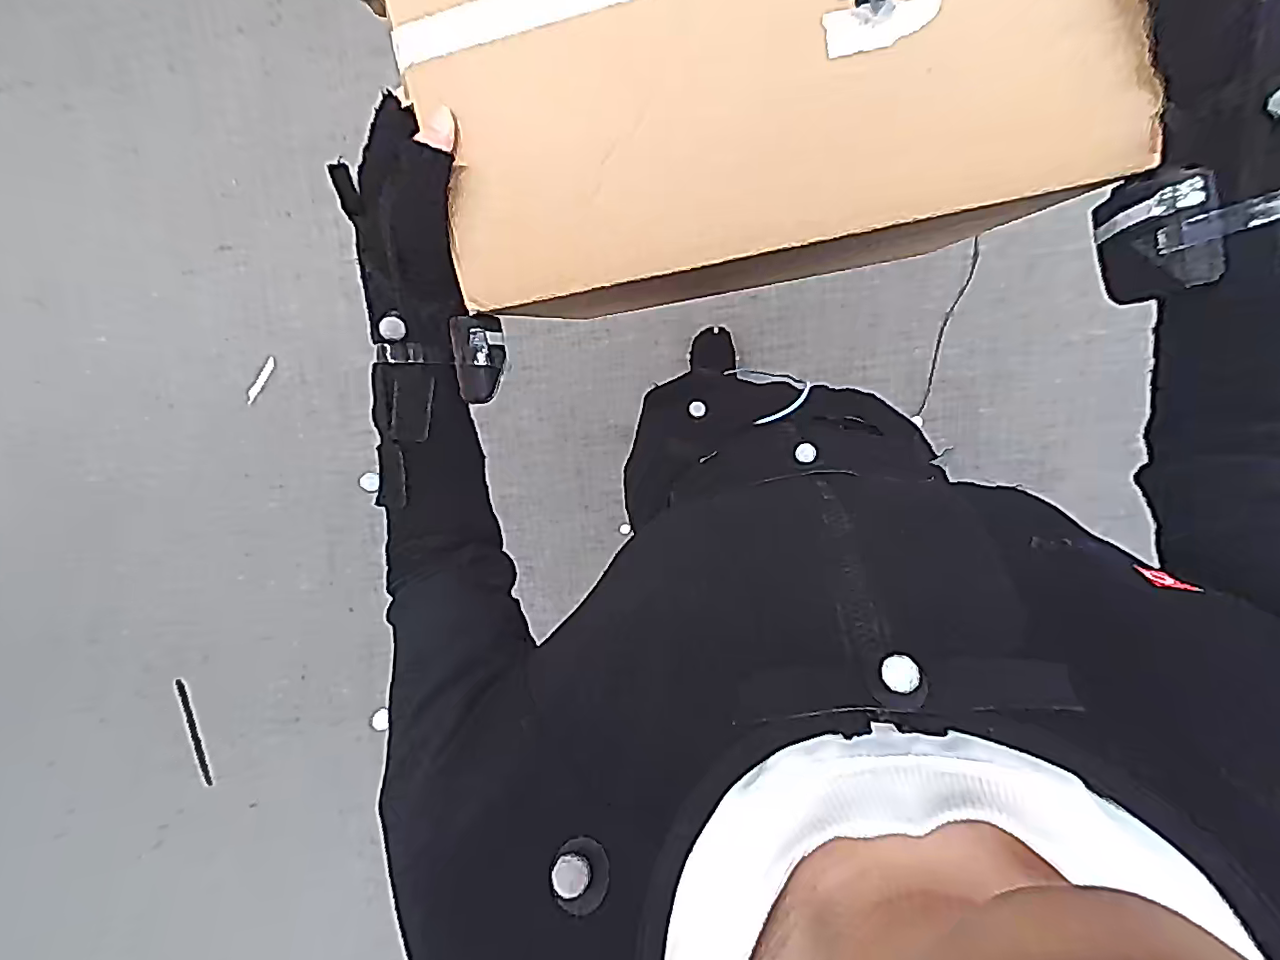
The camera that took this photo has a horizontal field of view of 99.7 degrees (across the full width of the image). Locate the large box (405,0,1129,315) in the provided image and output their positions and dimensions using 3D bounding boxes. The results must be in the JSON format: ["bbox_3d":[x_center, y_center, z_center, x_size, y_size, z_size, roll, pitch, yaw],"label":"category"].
[{"bbox_3d":[0.070,-0.338,0.447,0.408,0.320,0.320,-9,105,10],"label":"large box"}]
